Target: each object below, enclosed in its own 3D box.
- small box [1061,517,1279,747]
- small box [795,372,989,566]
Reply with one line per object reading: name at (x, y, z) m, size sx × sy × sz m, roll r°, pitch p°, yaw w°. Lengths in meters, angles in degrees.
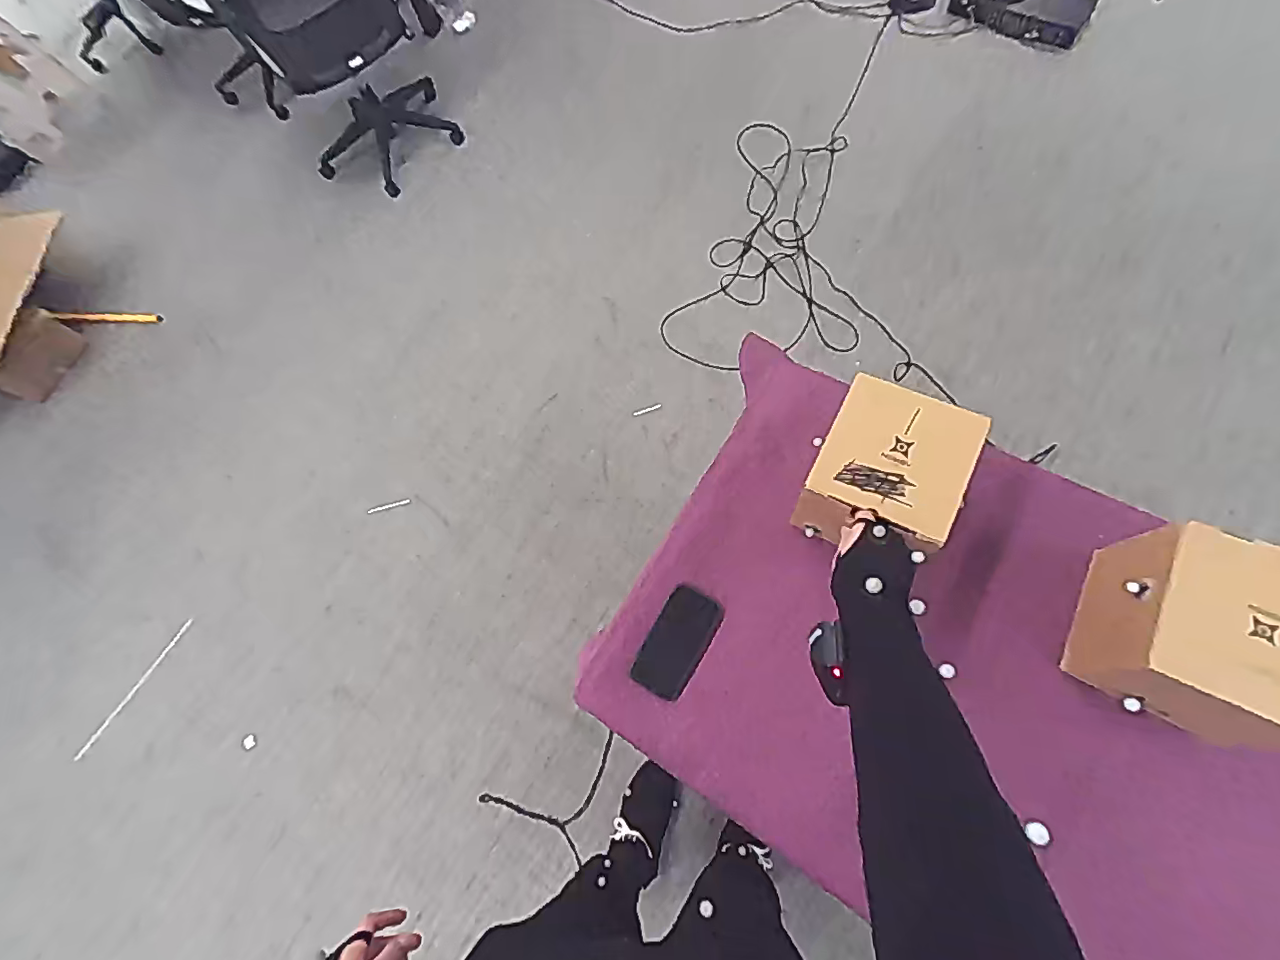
small box at (0.623, 0.172, 0.607) m, size 0.168 × 0.176 × 0.179 m, roll 26°, pitch 75°, yaw 18°
small box at (0.318, -0.006, 0.721) m, size 0.168 × 0.176 × 0.179 m, roll 25°, pitch 74°, yaw 16°
